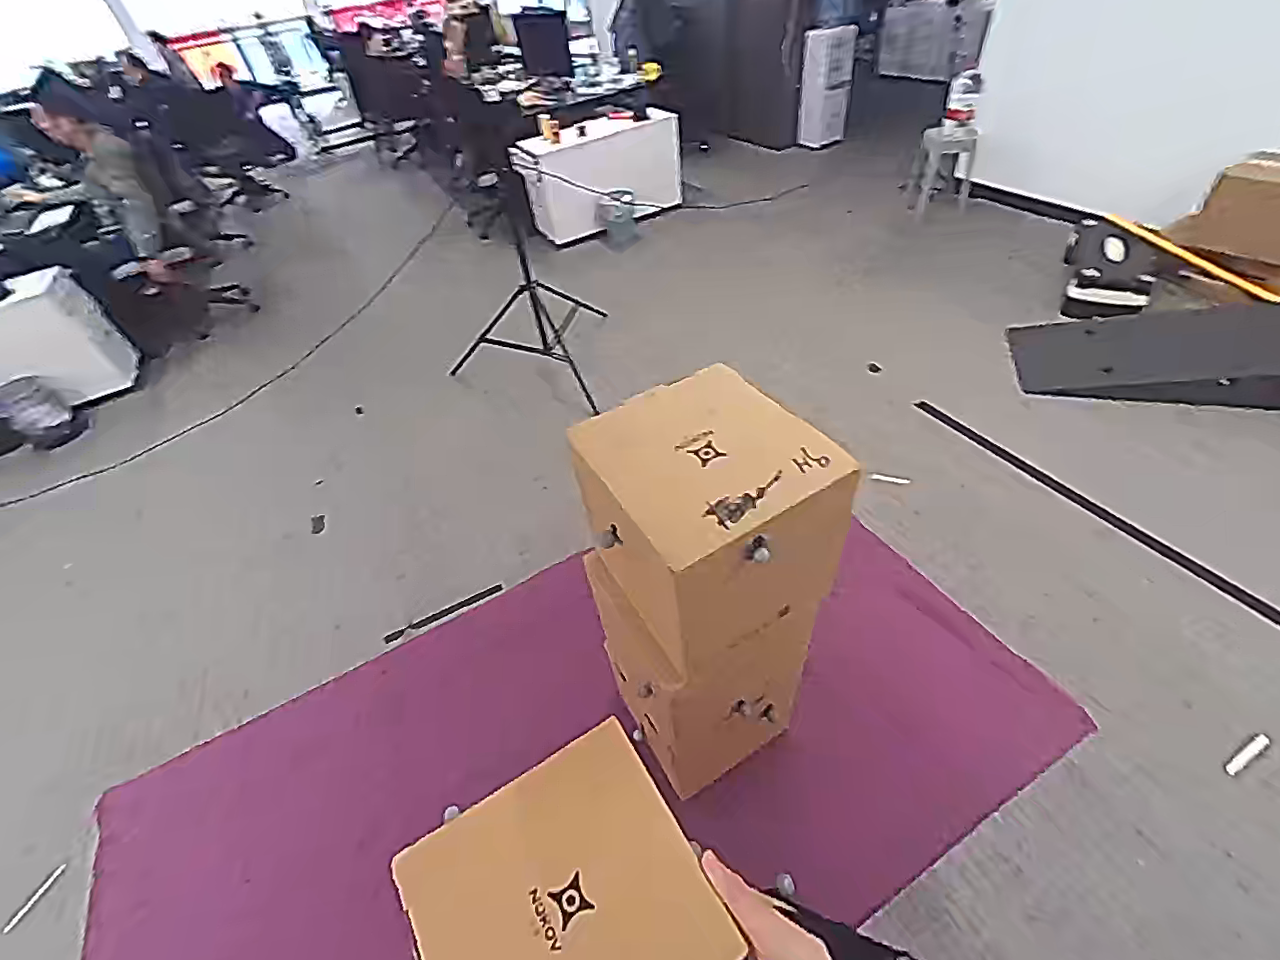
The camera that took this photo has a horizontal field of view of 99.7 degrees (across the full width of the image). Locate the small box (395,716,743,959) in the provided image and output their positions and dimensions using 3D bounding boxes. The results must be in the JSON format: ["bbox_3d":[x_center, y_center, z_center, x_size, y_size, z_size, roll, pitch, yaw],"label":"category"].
[{"bbox_3d":[-0.051,0.316,0.411,0.179,0.176,0.168,-26,58,-19],"label":"small box"}]

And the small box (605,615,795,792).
[{"bbox_3d":[0.076,0.265,0.707,0.179,0.176,0.168,-27,47,-16],"label":"small box"}]

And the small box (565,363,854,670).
[{"bbox_3d":[0.054,0.029,0.480,0.168,0.176,0.179,-27,48,-16],"label":"small box"}]
